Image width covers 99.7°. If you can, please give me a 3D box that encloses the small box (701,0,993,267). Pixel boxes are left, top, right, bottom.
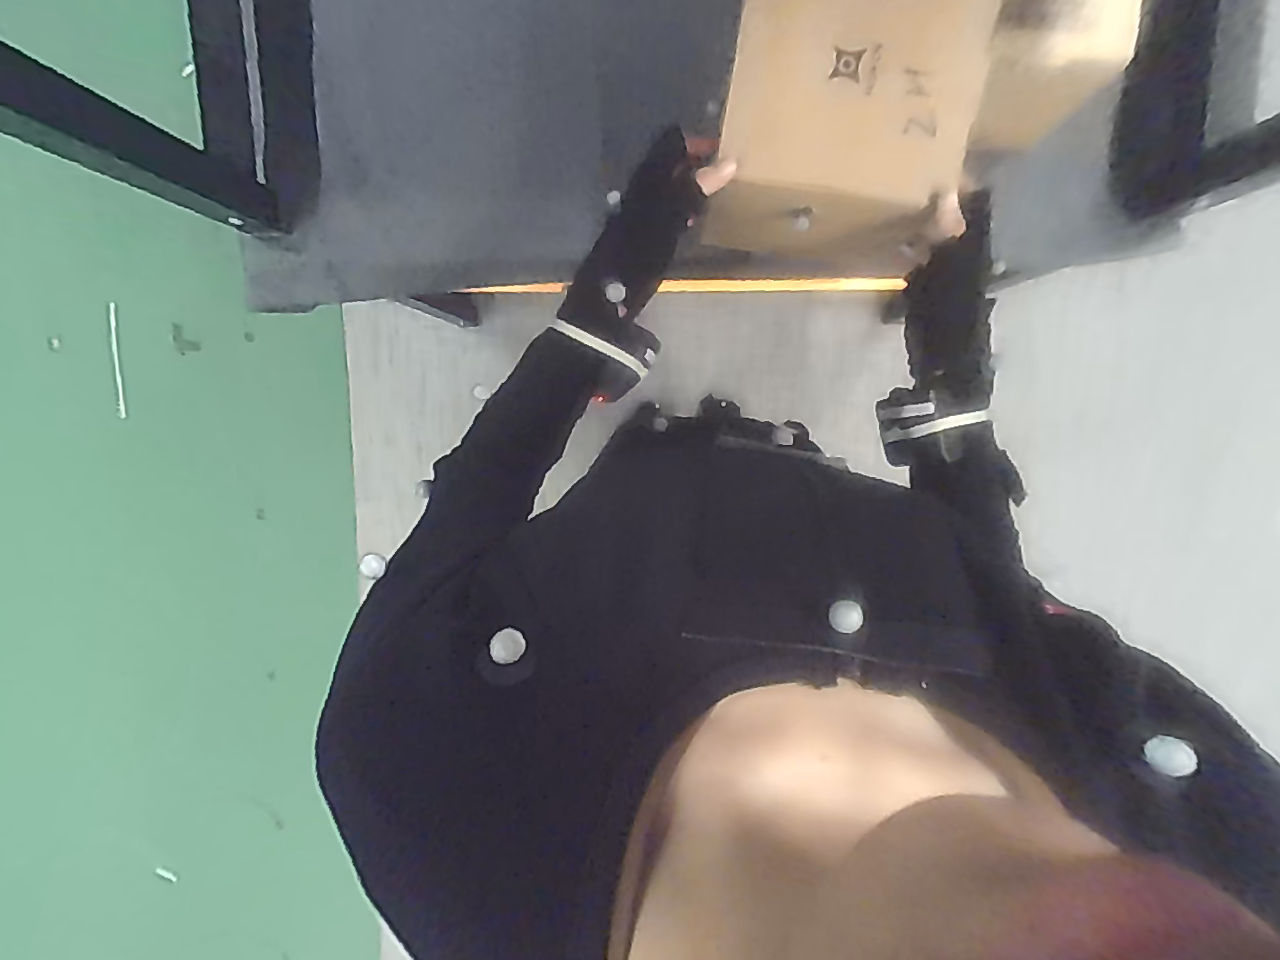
[{"bbox_3d":[0.152,-0.296,0.462,0.179,0.176,0.168,10,98,1],"label":"small box"}]
